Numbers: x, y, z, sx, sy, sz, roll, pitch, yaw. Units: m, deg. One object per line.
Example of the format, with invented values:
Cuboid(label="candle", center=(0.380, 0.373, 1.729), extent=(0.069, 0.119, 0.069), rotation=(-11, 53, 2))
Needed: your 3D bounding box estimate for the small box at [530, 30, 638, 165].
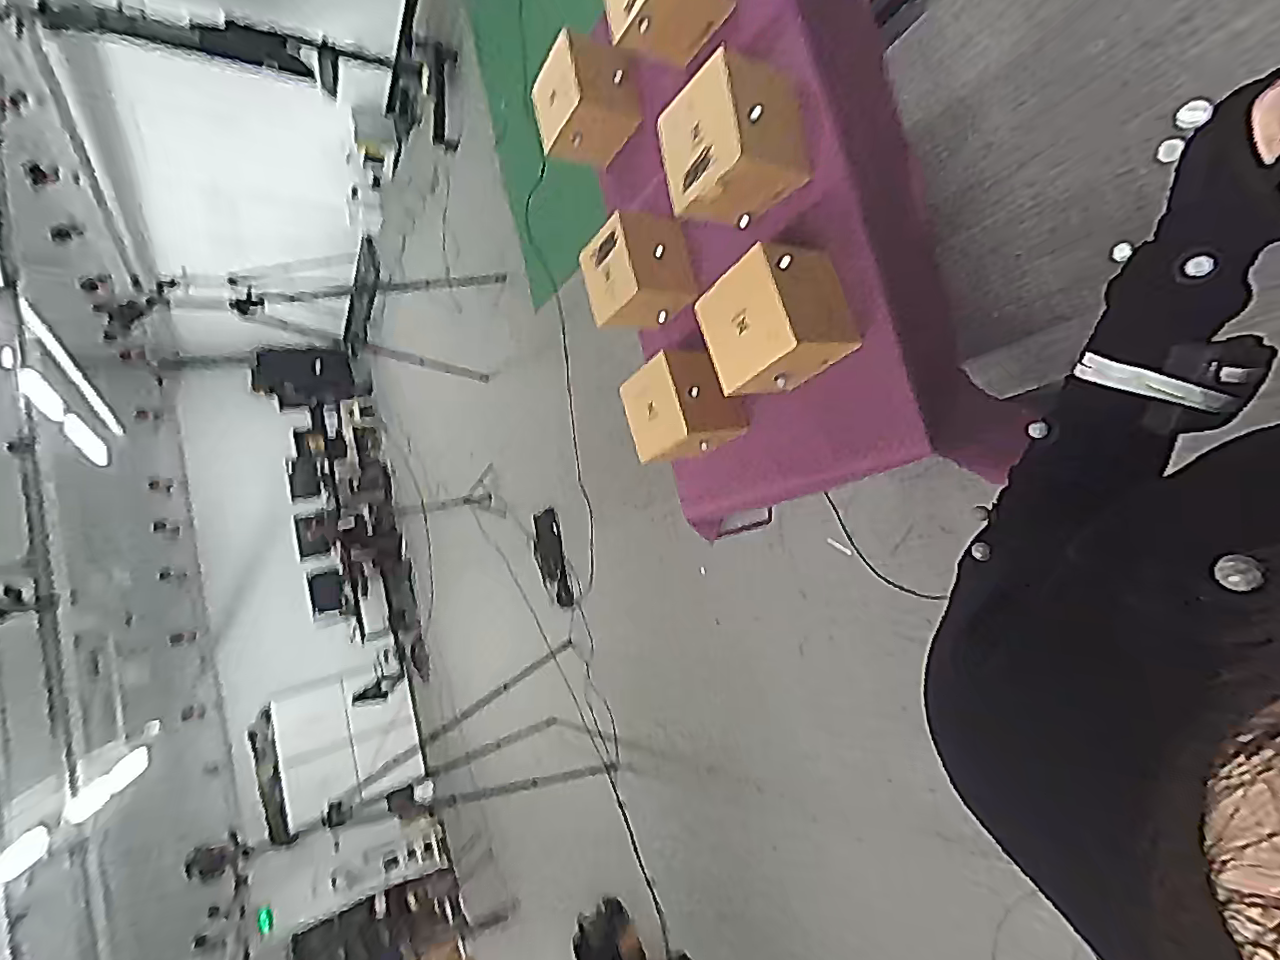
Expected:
Cuboid(label="small box", center=(-0.129, -0.859, 1.238), extent=(0.179, 0.176, 0.168), rotation=(-16, 86, 54))

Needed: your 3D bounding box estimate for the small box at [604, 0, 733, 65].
Cuboid(label="small box", center=(0.046, -0.914, 0.984), extent=(0.168, 0.176, 0.179), rotation=(-10, 89, 55))

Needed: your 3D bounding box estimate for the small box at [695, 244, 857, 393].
Cuboid(label="small box", center=(0.226, -0.261, 0.898), extent=(0.168, 0.176, 0.179), rotation=(-32, 71, 53))

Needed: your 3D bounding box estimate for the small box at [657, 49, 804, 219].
Cuboid(label="small box", center=(0.156, -0.566, 0.918), extent=(0.168, 0.176, 0.179), rotation=(-12, 87, 55))
